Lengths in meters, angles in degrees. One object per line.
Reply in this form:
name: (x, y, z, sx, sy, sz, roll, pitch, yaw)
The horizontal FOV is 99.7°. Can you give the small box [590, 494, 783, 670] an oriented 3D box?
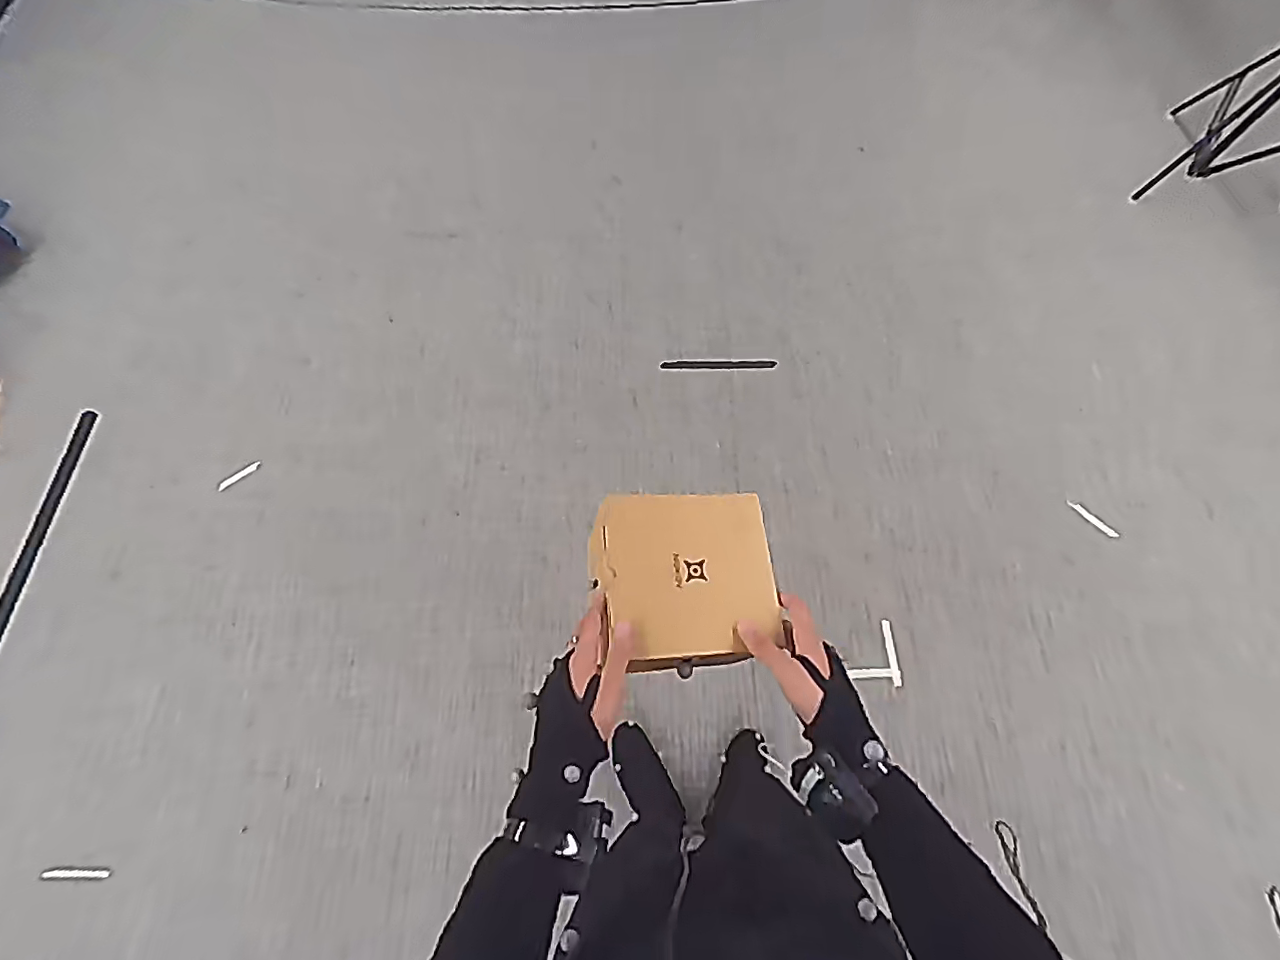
small box: (0.039, 0.122, 0.622, 0.179, 0.176, 0.168, -2, 67, -10)
